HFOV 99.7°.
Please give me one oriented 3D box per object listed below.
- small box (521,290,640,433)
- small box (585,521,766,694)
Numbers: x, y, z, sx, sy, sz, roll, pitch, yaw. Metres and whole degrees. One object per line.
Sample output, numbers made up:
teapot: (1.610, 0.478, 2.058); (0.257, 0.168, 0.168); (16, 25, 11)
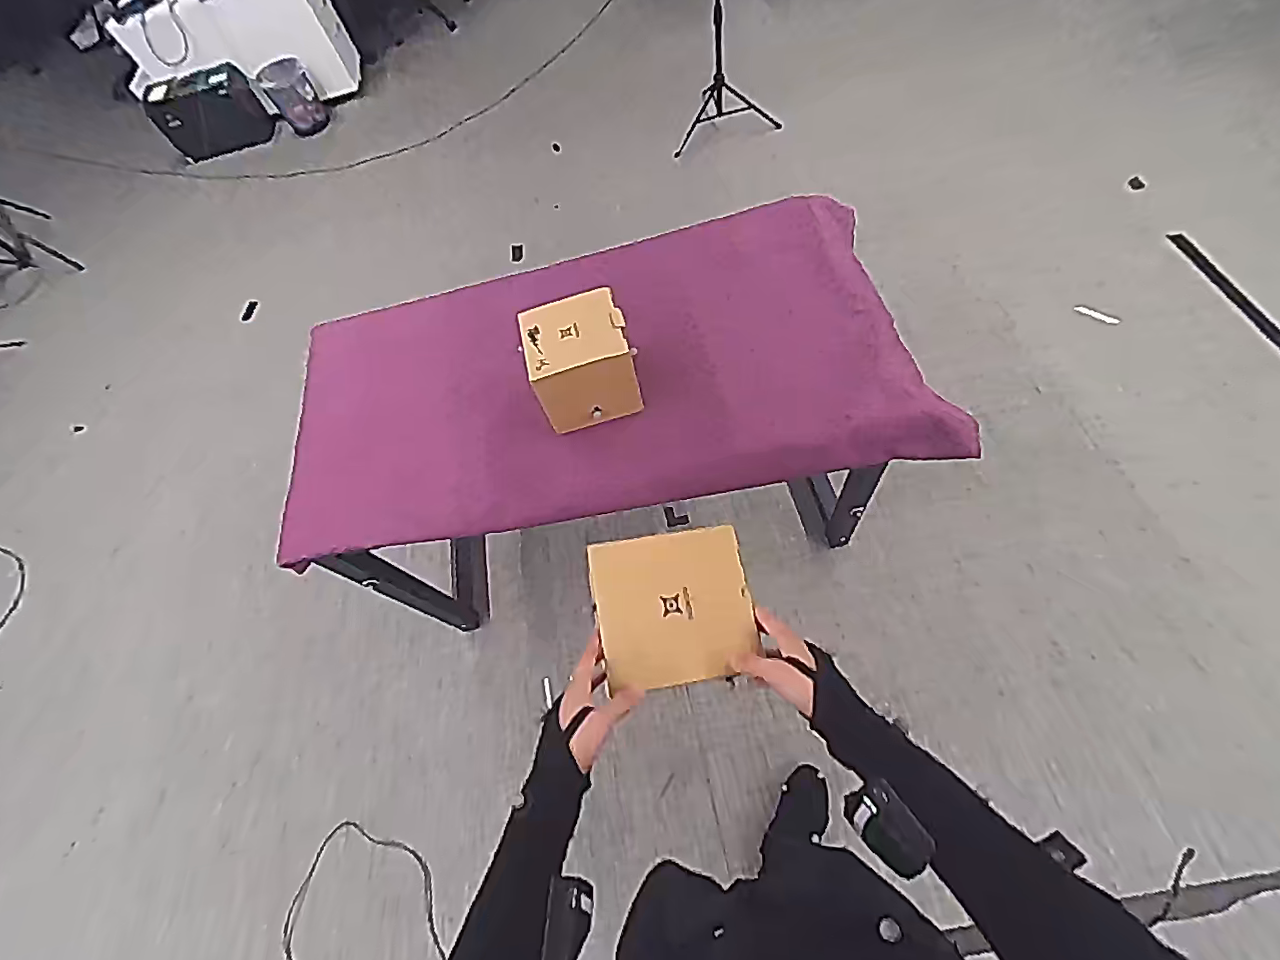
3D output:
small box: (-0.103, -0.213, 0.999); (0.179, 0.176, 0.168); (-16, 60, 1)
small box: (0.031, 0.164, 0.666); (0.179, 0.176, 0.168); (-8, 69, -9)
